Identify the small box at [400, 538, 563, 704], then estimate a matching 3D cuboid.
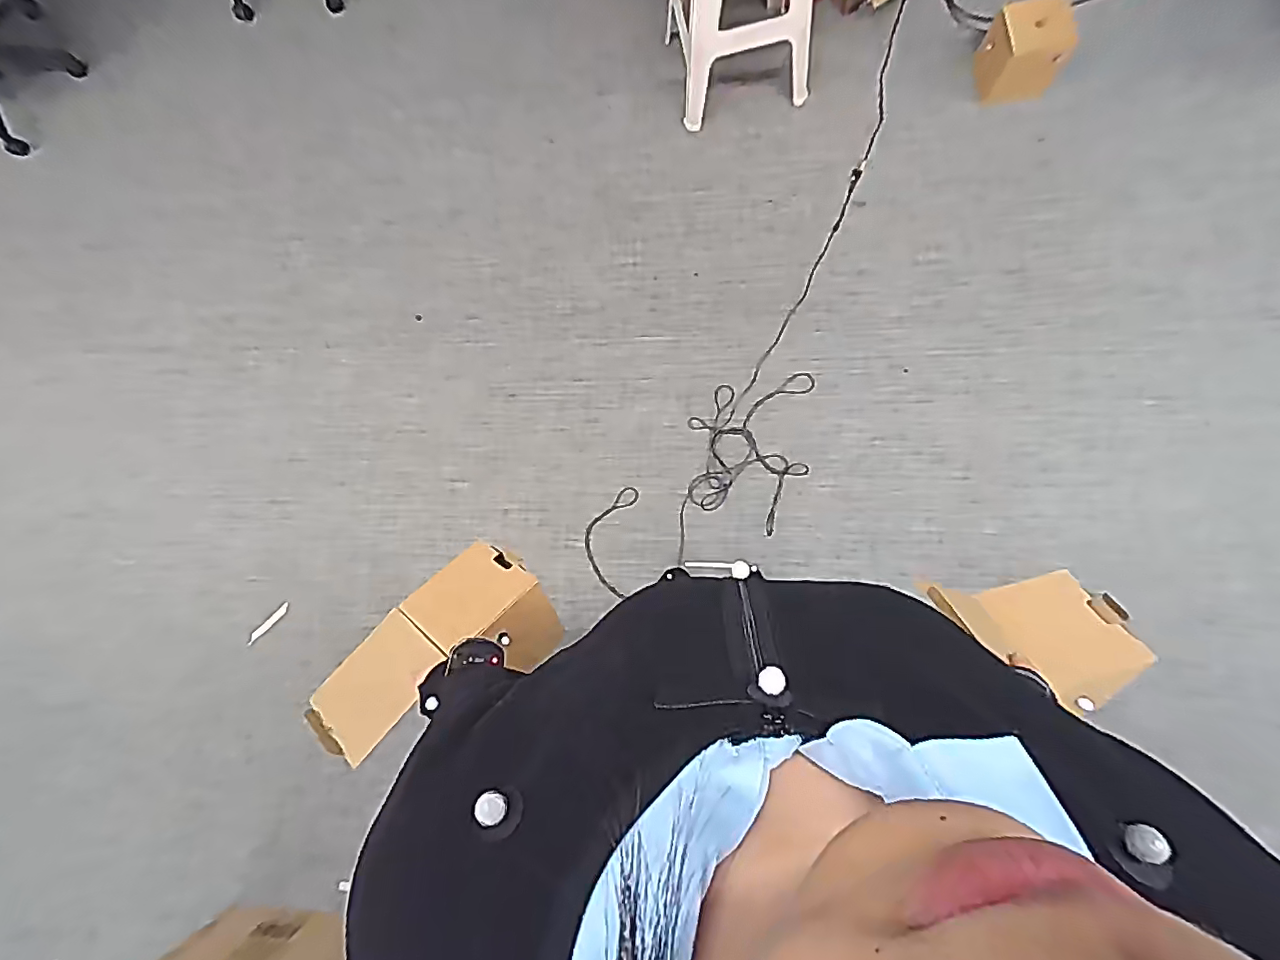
[{"bbox_3d":[-0.256,0.237,0.909,0.168,0.176,0.179,25,53,36],"label":"small box"}]
